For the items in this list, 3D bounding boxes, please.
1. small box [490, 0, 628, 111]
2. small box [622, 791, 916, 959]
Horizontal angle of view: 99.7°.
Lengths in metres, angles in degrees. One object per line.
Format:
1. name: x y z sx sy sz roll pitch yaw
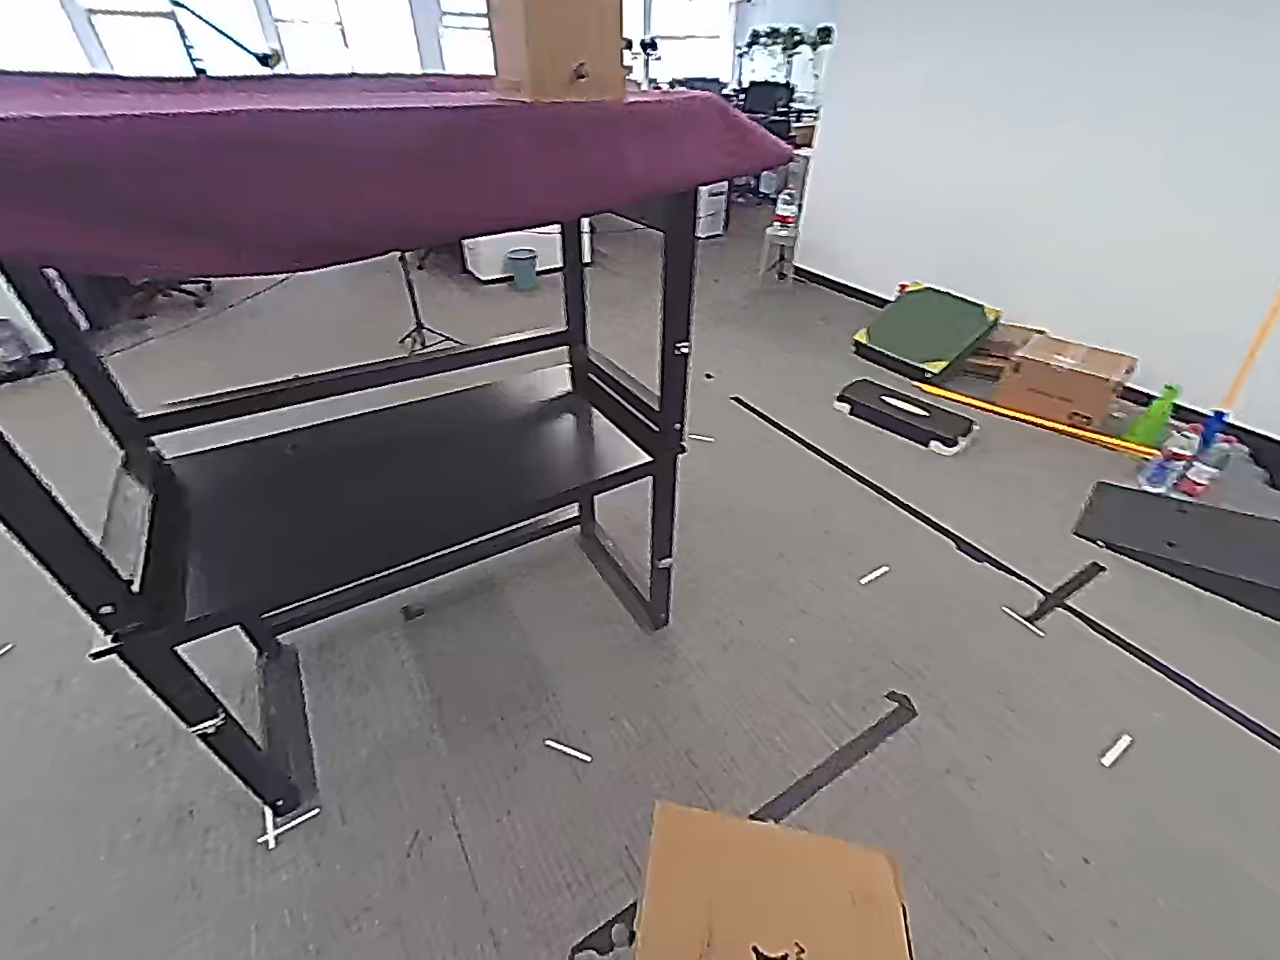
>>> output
1. small box: -0.135 -0.716 0.888 0.179 0.176 0.168 -21 41 -26
2. small box: 0.077 0.351 0.380 0.179 0.176 0.168 9 42 5
